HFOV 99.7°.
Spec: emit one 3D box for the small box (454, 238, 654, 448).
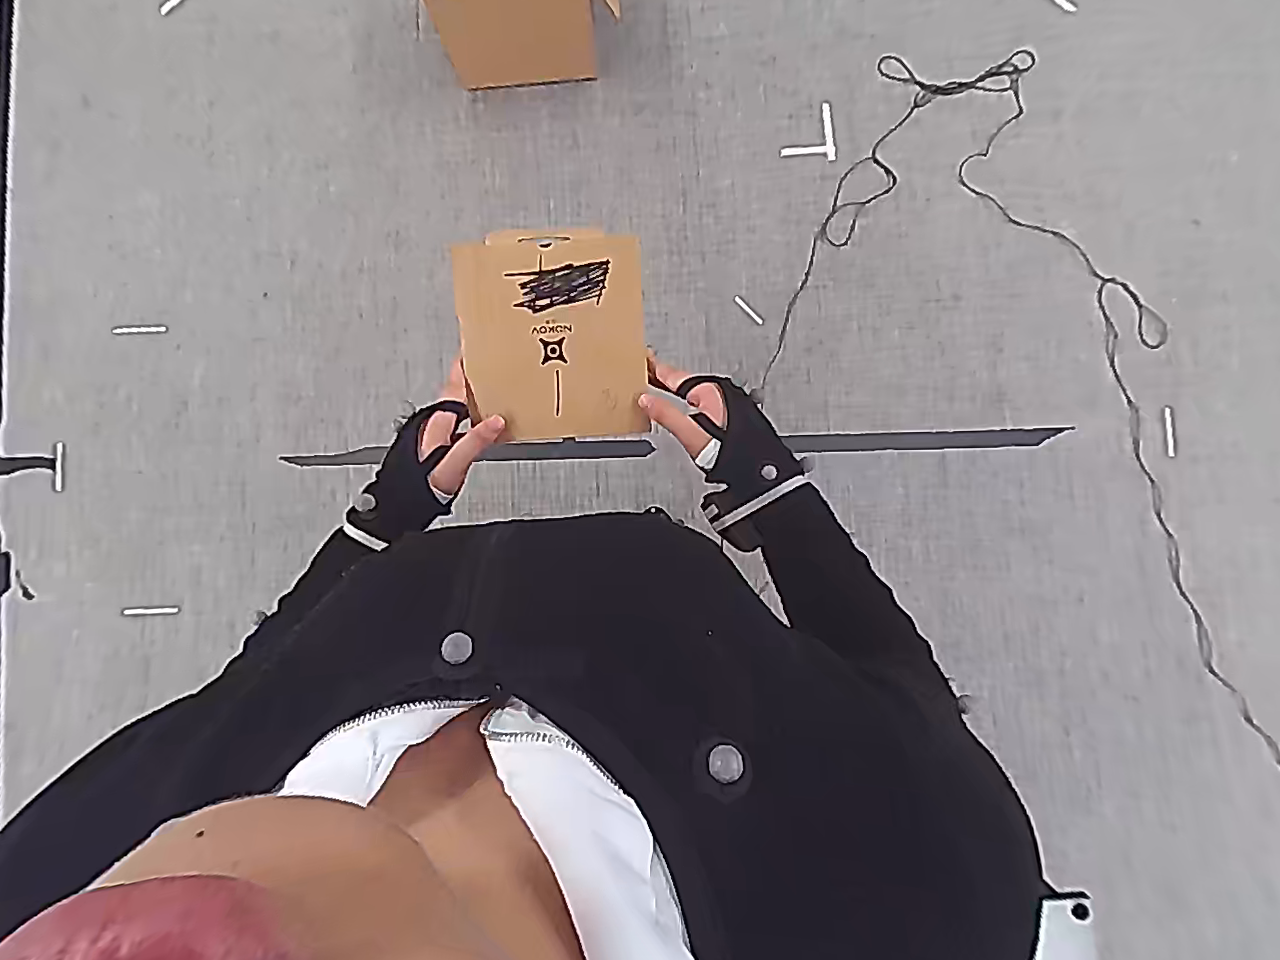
[{"bbox_3d":[-0.077,-0.129,0.554,0.168,0.176,0.179,-5,98,-1],"label":"small box"}]
